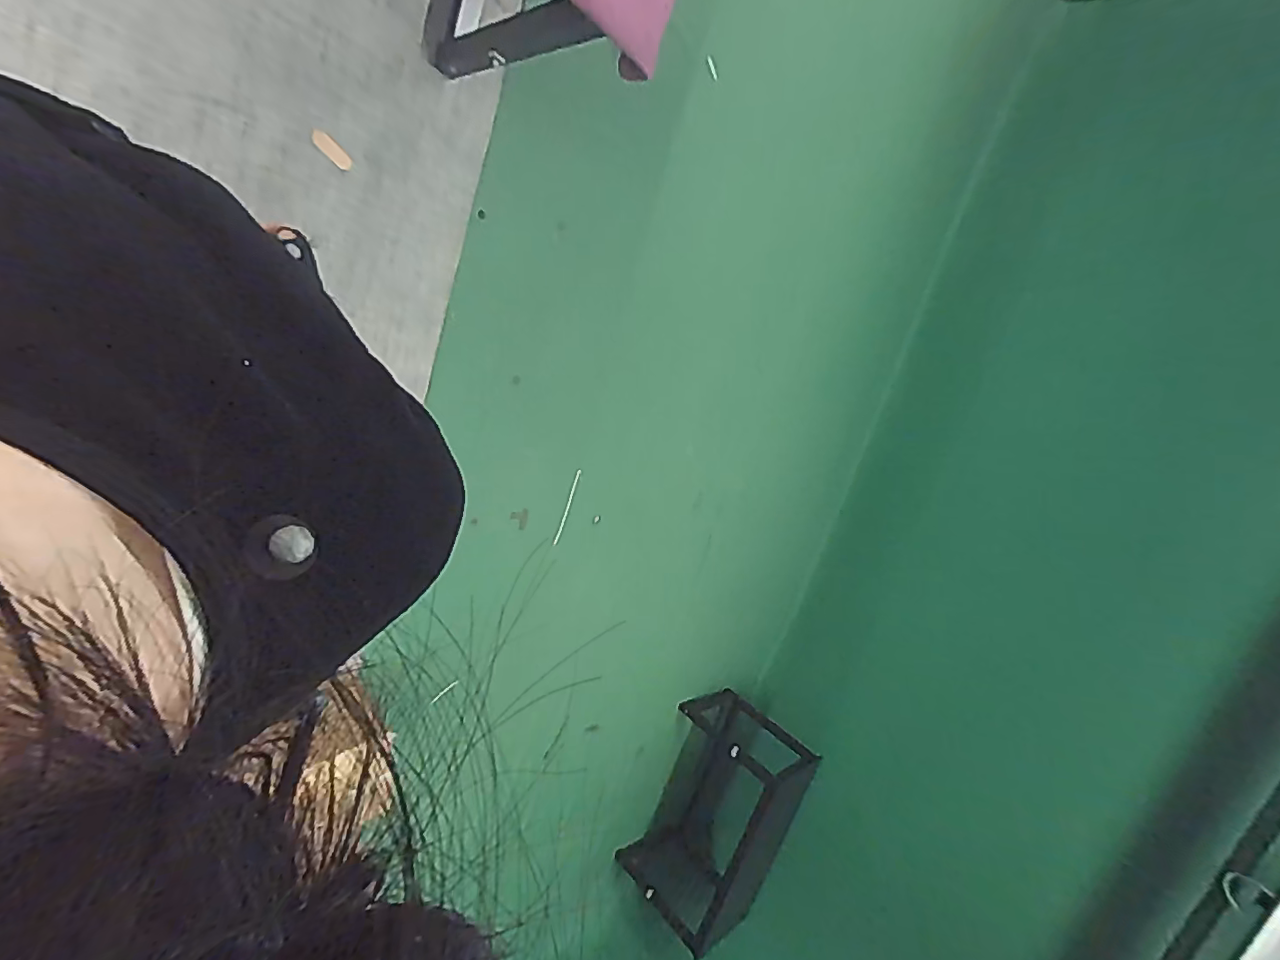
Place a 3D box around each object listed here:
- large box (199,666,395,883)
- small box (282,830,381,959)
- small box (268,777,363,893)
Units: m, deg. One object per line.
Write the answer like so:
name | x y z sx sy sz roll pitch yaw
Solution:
large box | -0.977 0.816 1.564 0.408 0.320 0.320 -13 121 -43
small box | -0.731 0.973 1.276 0.168 0.176 0.179 -5 114 -44
small box | -0.833 0.910 1.387 0.179 0.176 0.168 -8 115 -43
